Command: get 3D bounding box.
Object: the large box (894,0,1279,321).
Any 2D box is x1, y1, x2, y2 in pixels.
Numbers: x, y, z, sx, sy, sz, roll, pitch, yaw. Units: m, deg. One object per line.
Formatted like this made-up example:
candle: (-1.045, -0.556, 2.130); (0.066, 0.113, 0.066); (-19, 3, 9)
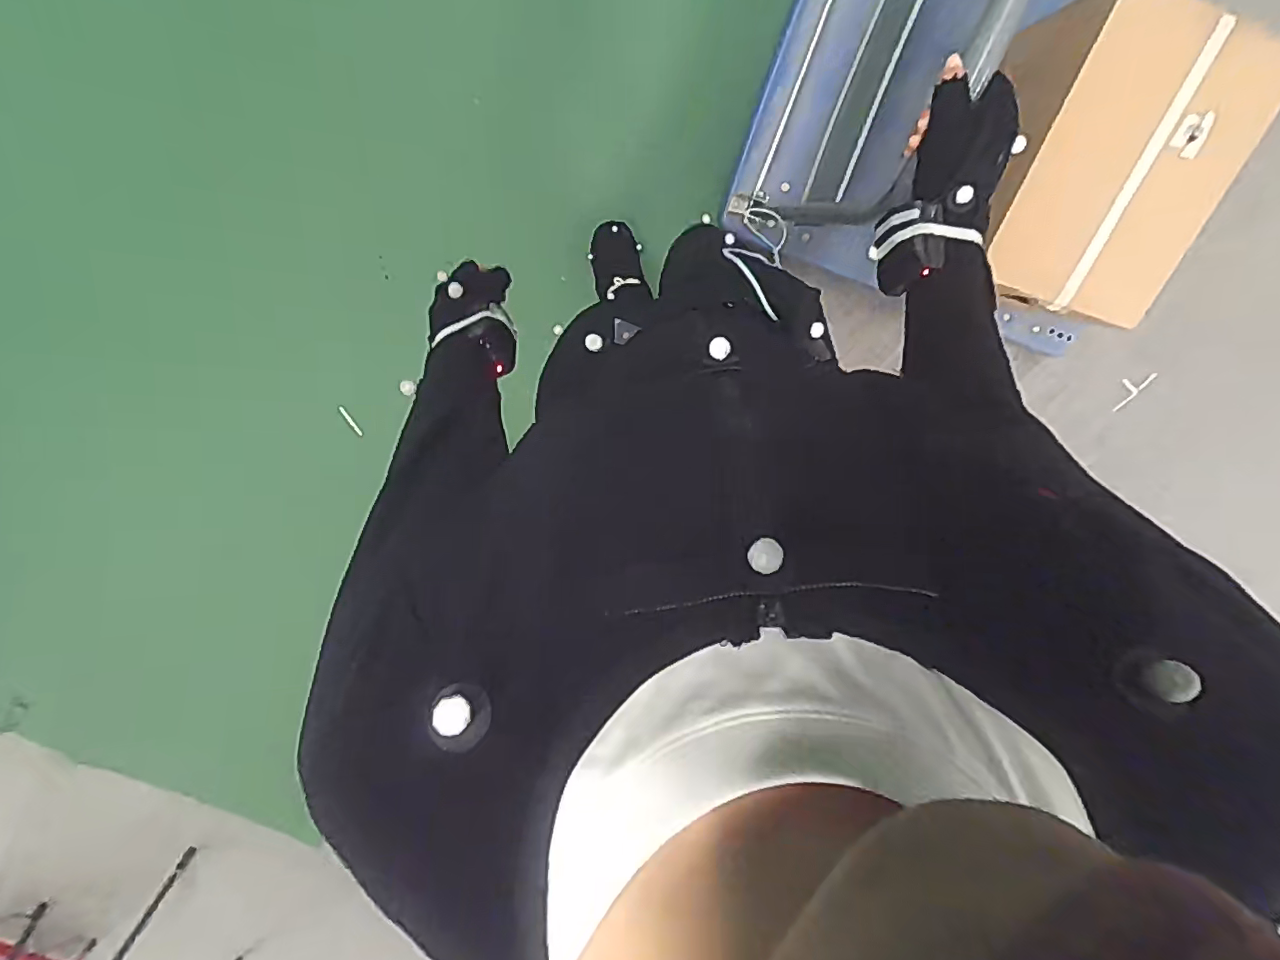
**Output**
large box: (0.738, -0.539, 0.966); (0.320, 0.320, 0.408); (15, 112, -9)
